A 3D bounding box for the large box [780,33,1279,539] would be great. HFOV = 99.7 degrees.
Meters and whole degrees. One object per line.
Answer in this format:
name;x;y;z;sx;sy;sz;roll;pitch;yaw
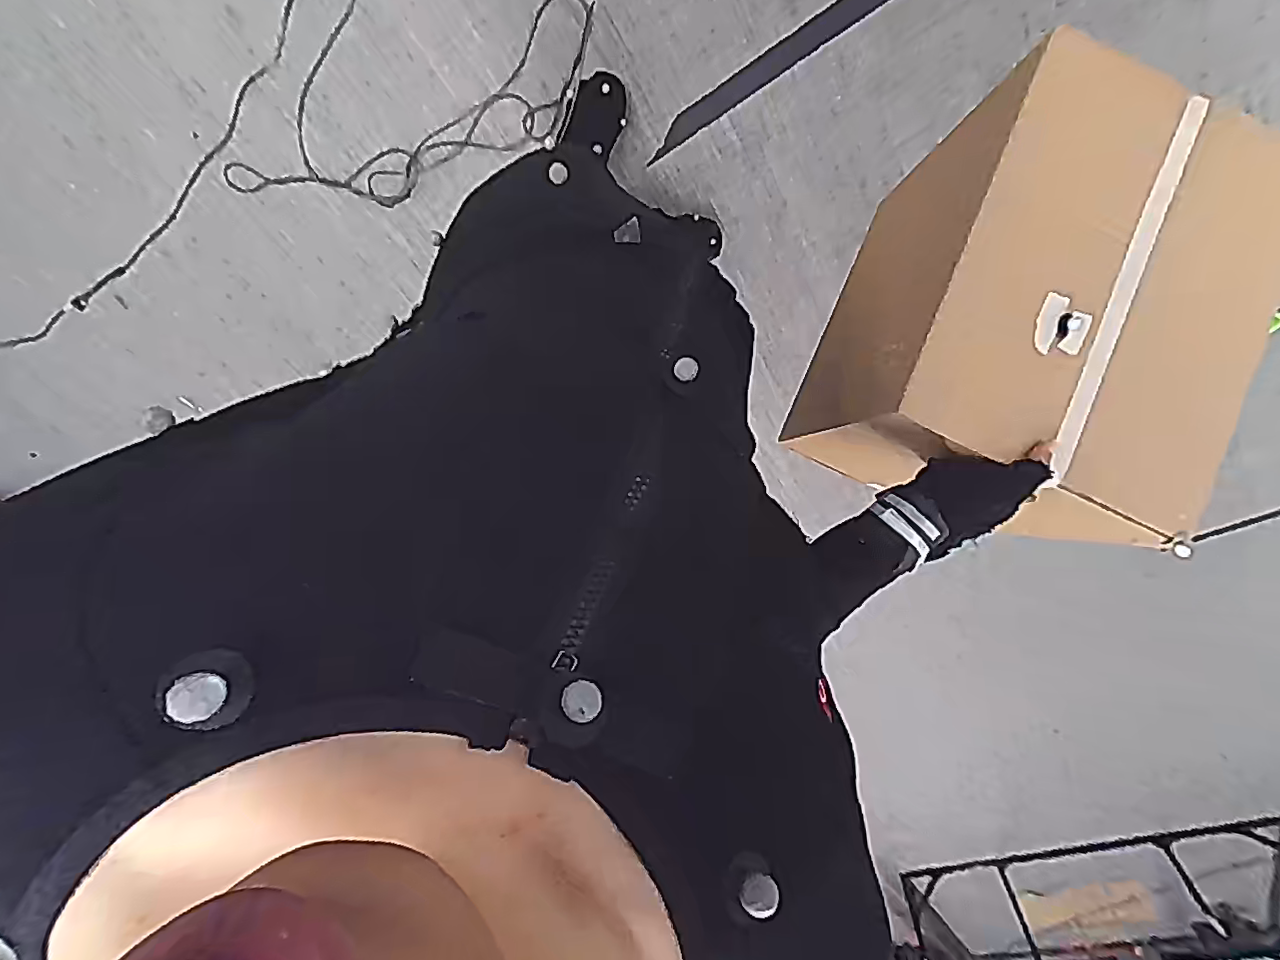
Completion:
large box;0.429;-0.185;0.663;0.320;0.320;0.408;24;88;-5
